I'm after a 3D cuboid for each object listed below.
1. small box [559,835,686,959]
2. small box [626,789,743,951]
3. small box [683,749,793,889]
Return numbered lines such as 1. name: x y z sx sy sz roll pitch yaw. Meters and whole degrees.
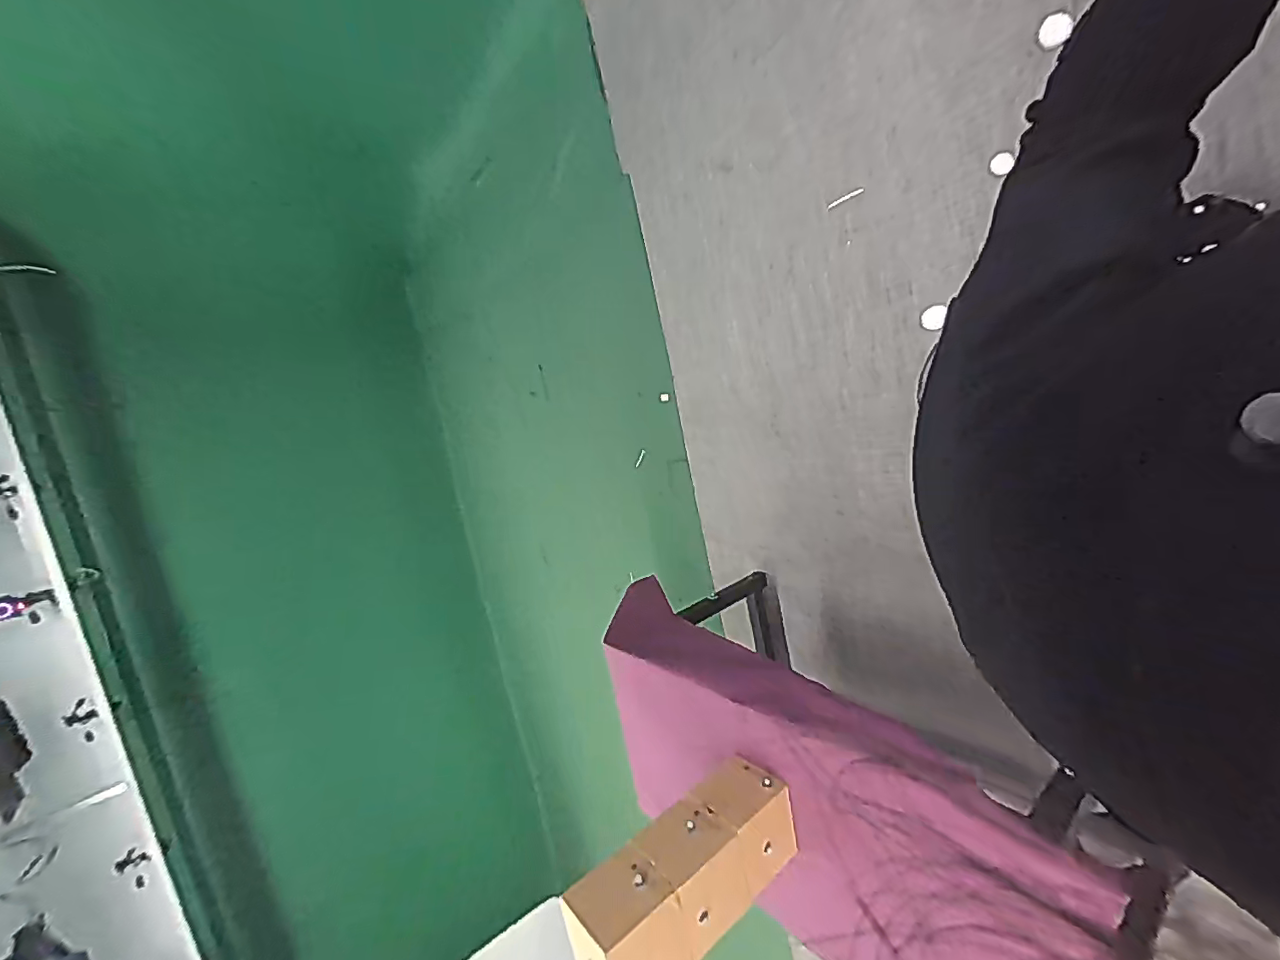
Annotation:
1. small box: -0.029 0.844 1.039 0.168 0.176 0.179 1 105 53
2. small box: 0.098 0.801 1.132 0.168 0.176 0.179 2 105 53
3. small box: 0.223 0.753 1.227 0.168 0.176 0.179 3 107 53
